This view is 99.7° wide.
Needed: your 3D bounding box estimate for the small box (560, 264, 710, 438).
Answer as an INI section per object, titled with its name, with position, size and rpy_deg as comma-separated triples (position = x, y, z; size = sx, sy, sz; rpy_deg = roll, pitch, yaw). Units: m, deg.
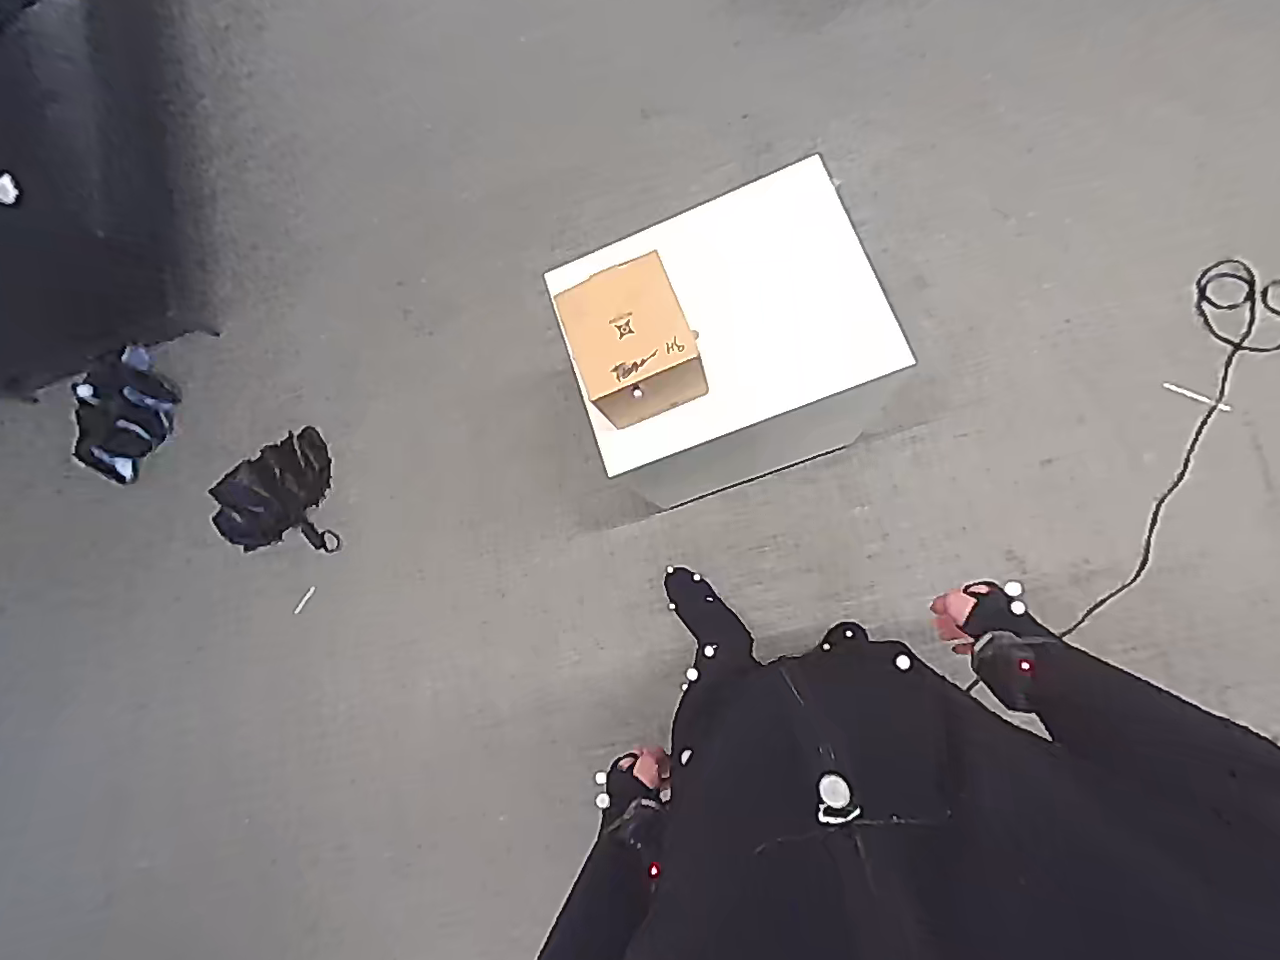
[small box]
position = 0.000, -0.186, 0.833
size = 0.168, 0.176, 0.179
rpy_deg = -22, 76, 8
